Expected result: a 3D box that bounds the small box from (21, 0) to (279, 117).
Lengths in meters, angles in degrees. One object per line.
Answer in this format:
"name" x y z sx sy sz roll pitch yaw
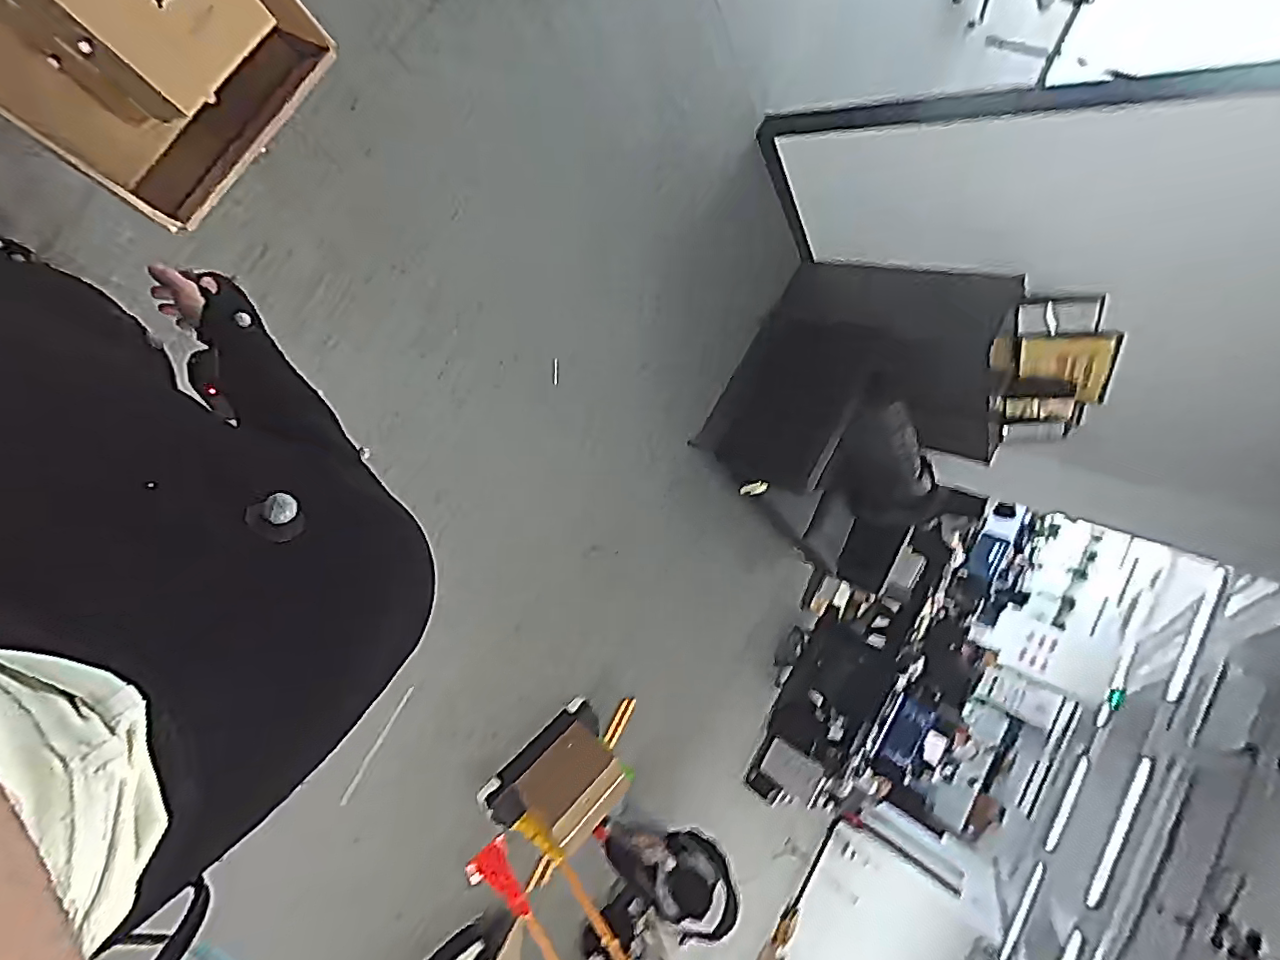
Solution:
"small box" -0.579 -0.559 0.628 0.168 0.176 0.179 -57 143 -10
